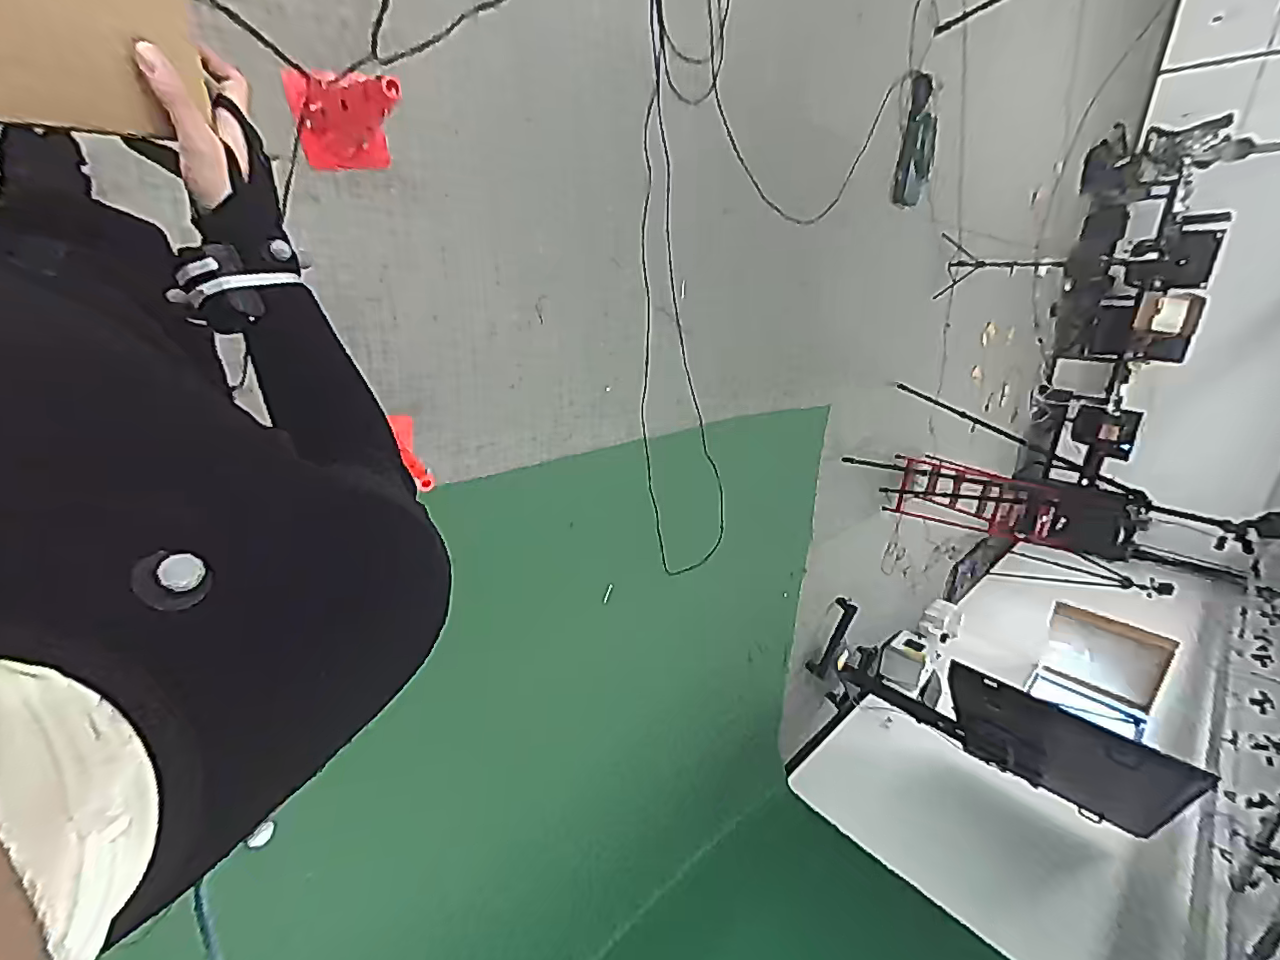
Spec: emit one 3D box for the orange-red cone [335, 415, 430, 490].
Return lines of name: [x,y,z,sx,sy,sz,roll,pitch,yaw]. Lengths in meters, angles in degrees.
orange-red cone: [-0.658,-0.043,1.461,0.199,0.360,0.198,-8,112,-45]
